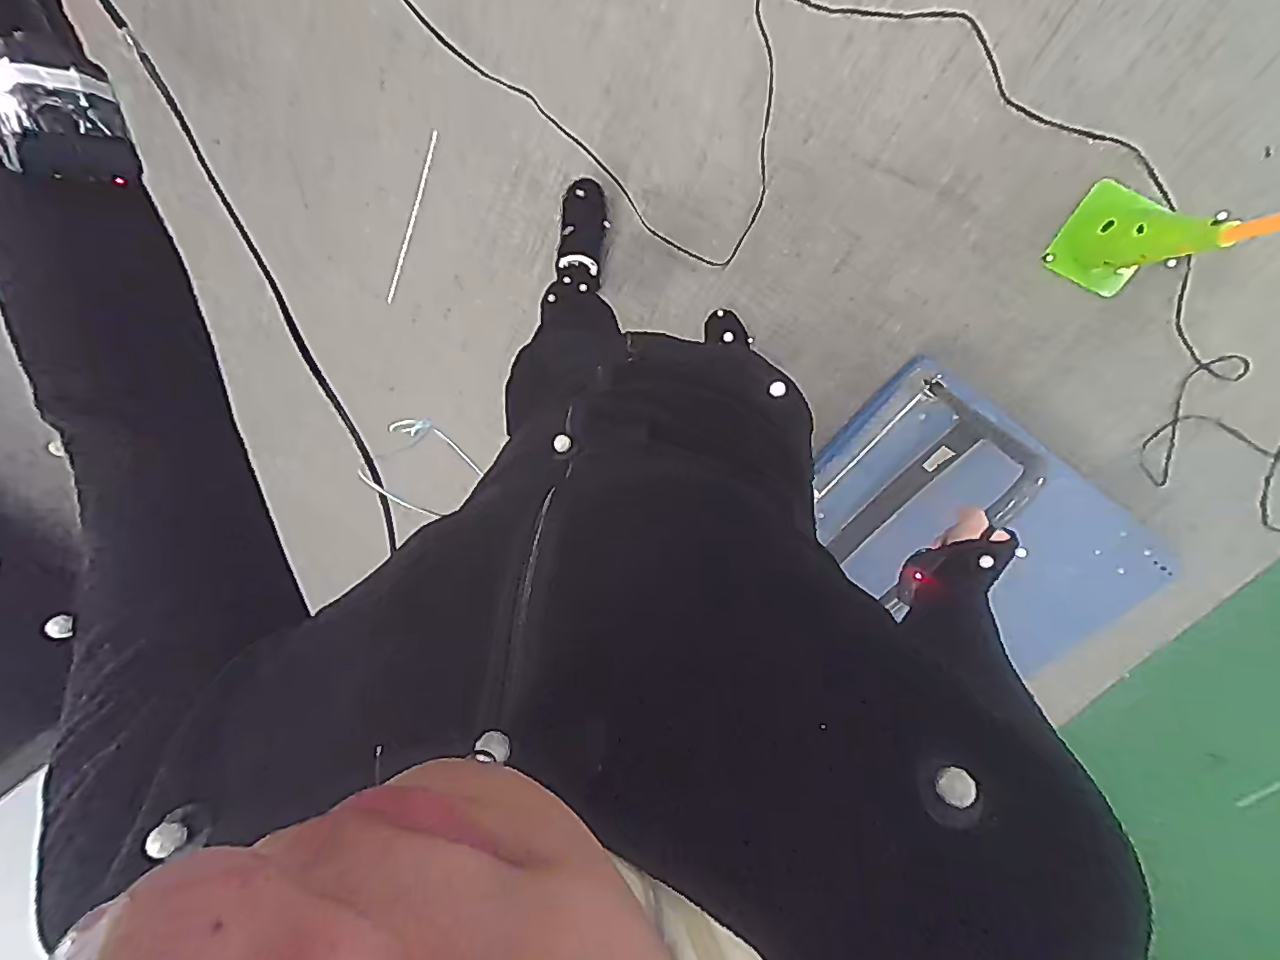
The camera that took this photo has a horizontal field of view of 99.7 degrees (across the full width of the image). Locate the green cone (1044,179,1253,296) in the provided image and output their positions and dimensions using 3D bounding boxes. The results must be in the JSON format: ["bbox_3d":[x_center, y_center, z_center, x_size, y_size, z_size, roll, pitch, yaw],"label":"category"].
[{"bbox_3d":[1.042,-0.488,1.077,0.200,0.368,0.202,26,113,-1],"label":"green cone"}]
